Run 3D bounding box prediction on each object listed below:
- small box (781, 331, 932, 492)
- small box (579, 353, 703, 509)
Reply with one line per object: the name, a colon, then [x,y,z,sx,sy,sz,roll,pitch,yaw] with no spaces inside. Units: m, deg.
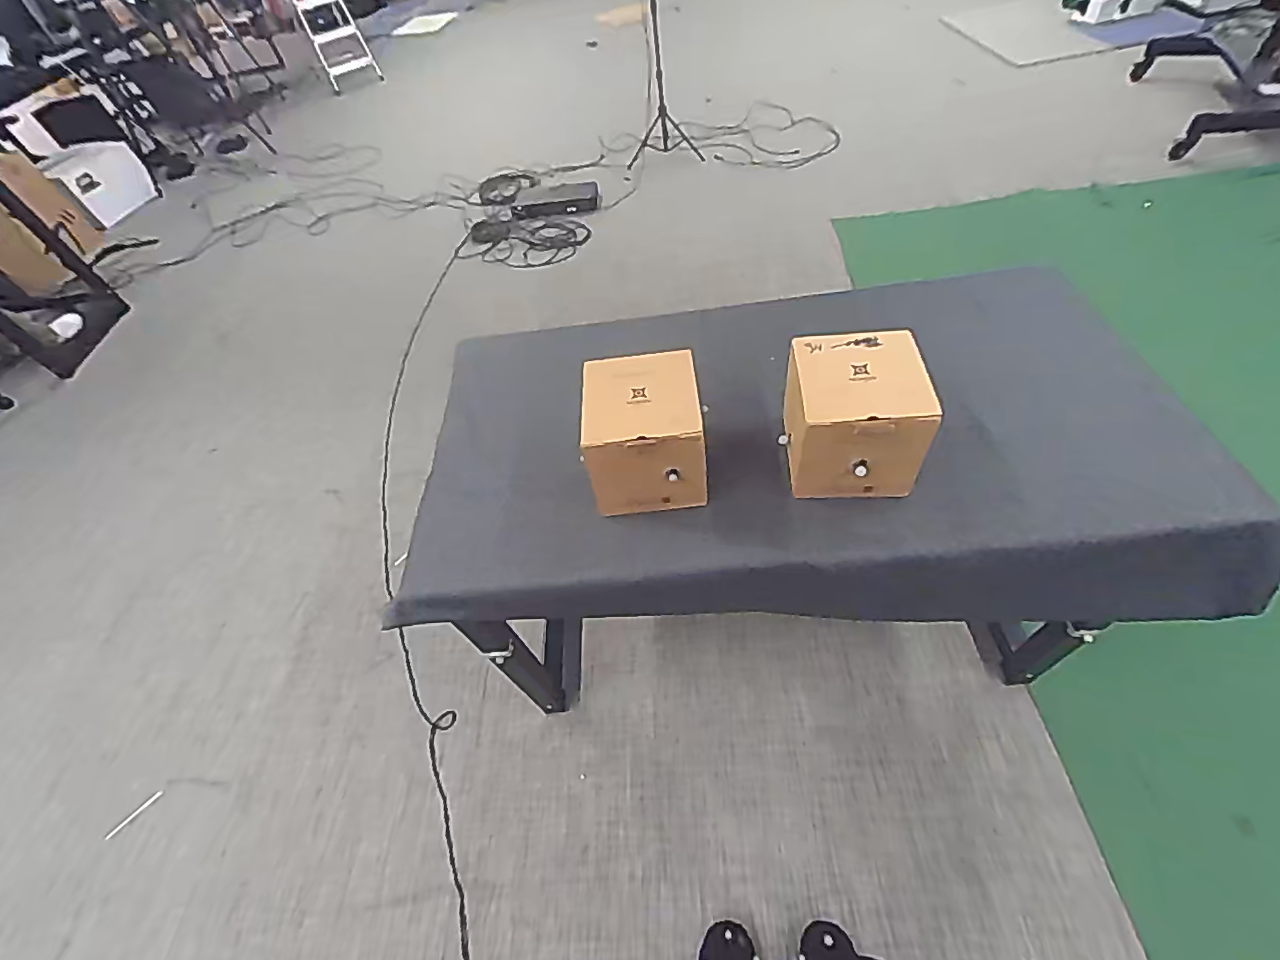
small box: [0.304,-0.093,0.799,0.168,0.176,0.179,-2,54,8]
small box: [0.005,-0.067,0.834,0.168,0.176,0.179,-6,51,3]
